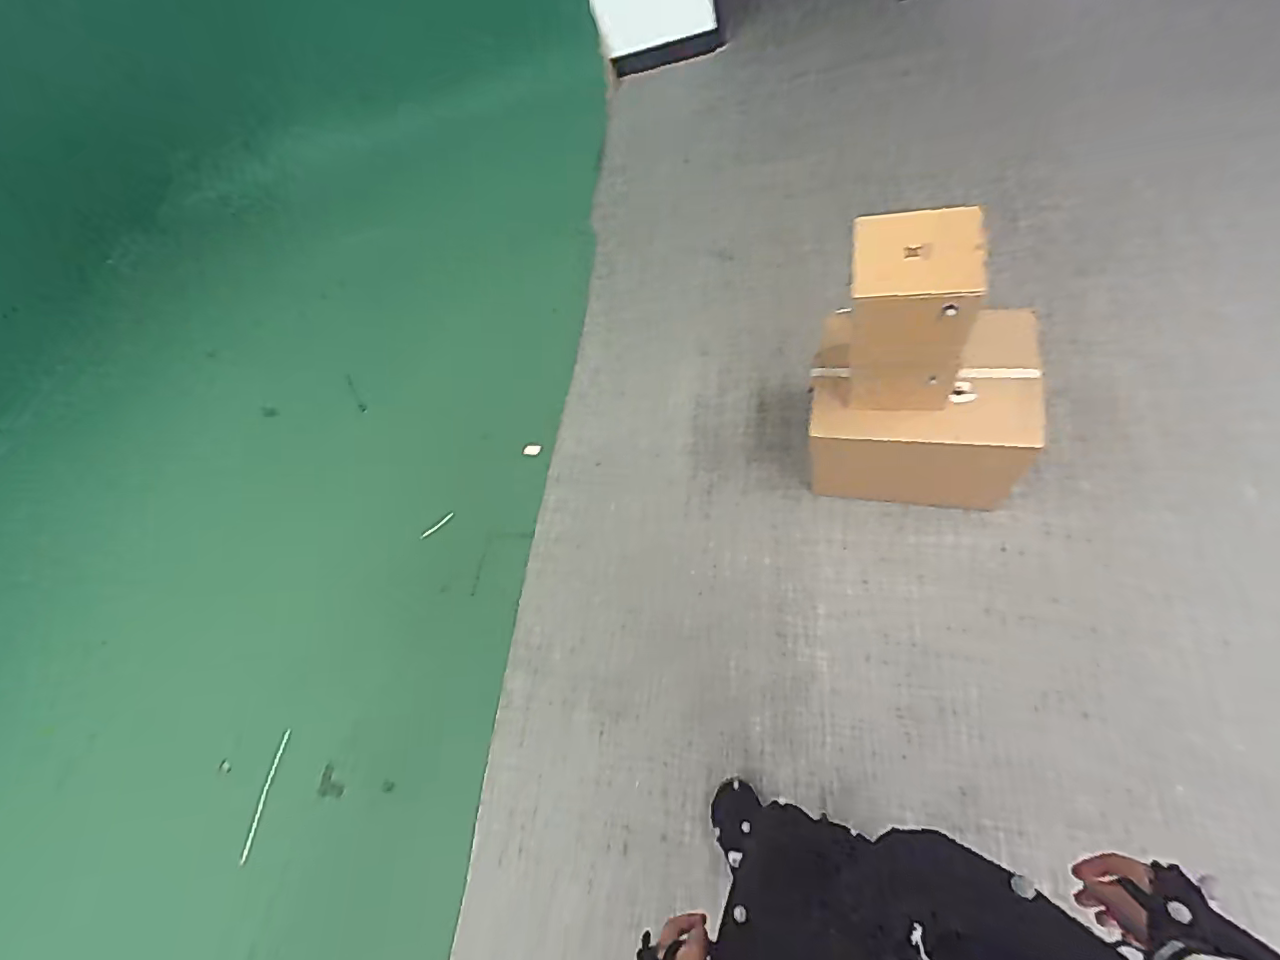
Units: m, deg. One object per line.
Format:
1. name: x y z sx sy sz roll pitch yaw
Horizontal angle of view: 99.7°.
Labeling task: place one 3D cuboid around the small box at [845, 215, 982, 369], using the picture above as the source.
1. small box: 0.431 -0.293 0.875 0.179 0.176 0.168 3 66 19

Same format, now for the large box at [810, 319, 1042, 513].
1. large box: 0.600 -0.135 1.215 0.408 0.320 0.320 5 68 19
